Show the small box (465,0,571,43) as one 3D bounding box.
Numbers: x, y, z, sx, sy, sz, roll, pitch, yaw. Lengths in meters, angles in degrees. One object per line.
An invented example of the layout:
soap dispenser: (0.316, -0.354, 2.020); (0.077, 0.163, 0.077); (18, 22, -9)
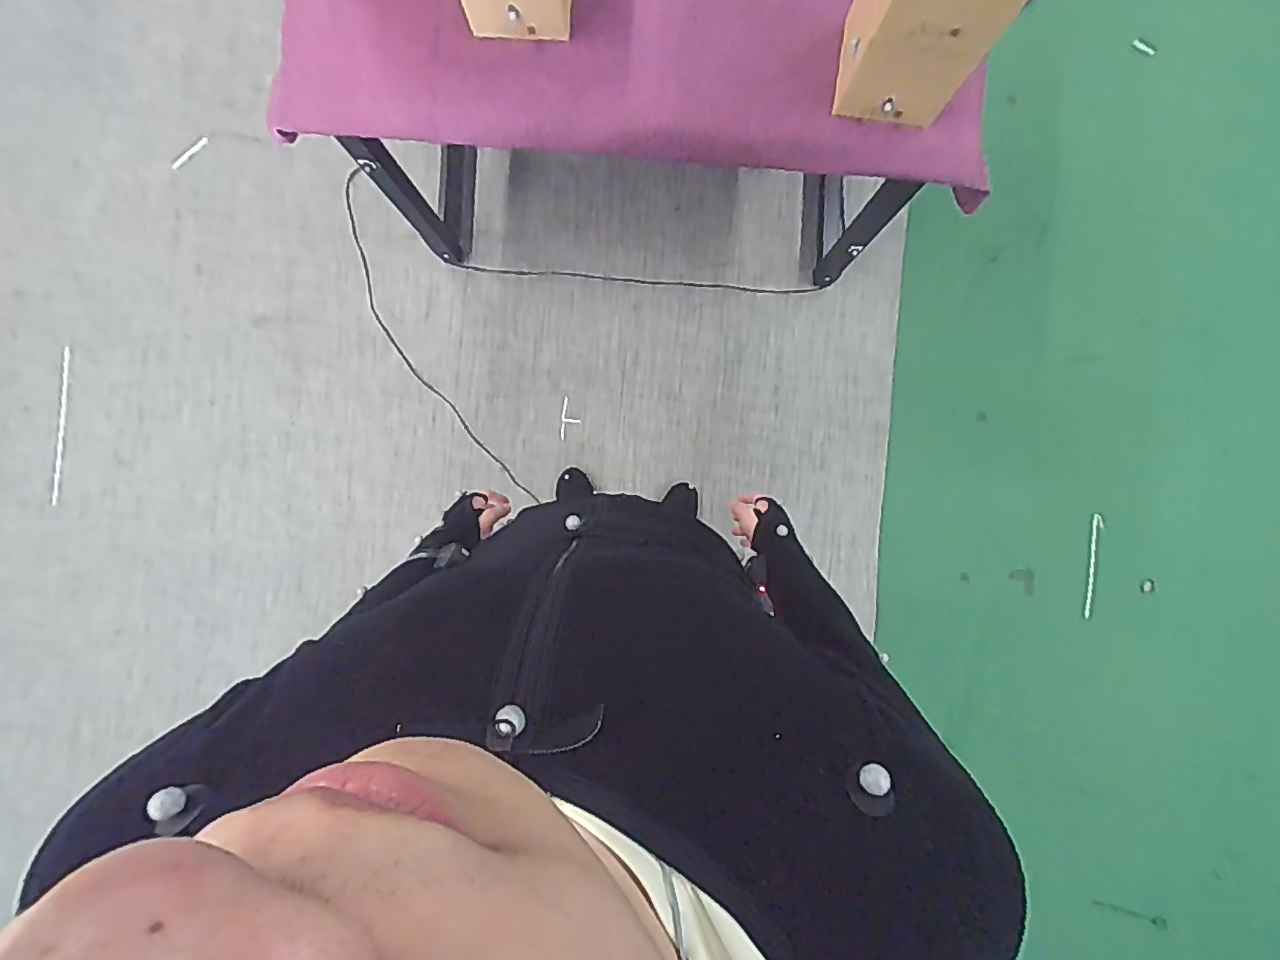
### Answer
small box: (-0.199, -0.843, 0.848); (0.168, 0.176, 0.179); (3, 90, 0)

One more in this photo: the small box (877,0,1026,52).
small box: (0.421, -0.701, 0.683); (0.168, 0.176, 0.179); (9, 88, 1)
